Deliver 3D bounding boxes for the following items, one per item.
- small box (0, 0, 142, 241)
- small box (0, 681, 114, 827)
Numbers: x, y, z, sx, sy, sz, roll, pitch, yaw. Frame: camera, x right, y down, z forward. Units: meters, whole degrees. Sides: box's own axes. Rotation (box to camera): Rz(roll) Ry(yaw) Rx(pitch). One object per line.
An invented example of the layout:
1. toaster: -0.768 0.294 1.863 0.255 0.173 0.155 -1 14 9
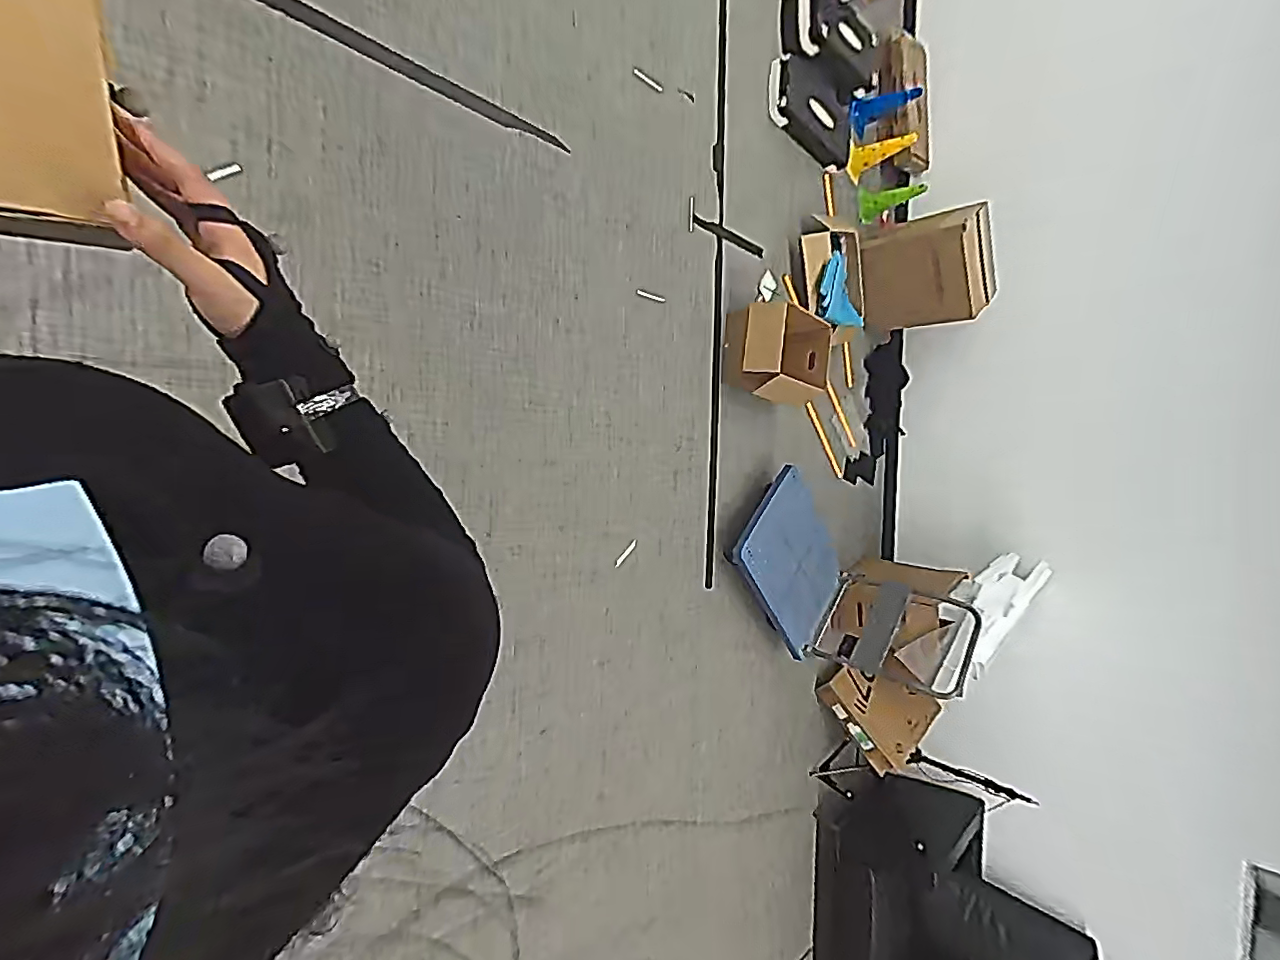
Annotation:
1. small box: -0.405 -0.247 0.305 0.168 0.176 0.179 -8 110 -42
2. small box: -1.087 0.488 0.993 0.168 0.176 0.179 -3 95 -44
